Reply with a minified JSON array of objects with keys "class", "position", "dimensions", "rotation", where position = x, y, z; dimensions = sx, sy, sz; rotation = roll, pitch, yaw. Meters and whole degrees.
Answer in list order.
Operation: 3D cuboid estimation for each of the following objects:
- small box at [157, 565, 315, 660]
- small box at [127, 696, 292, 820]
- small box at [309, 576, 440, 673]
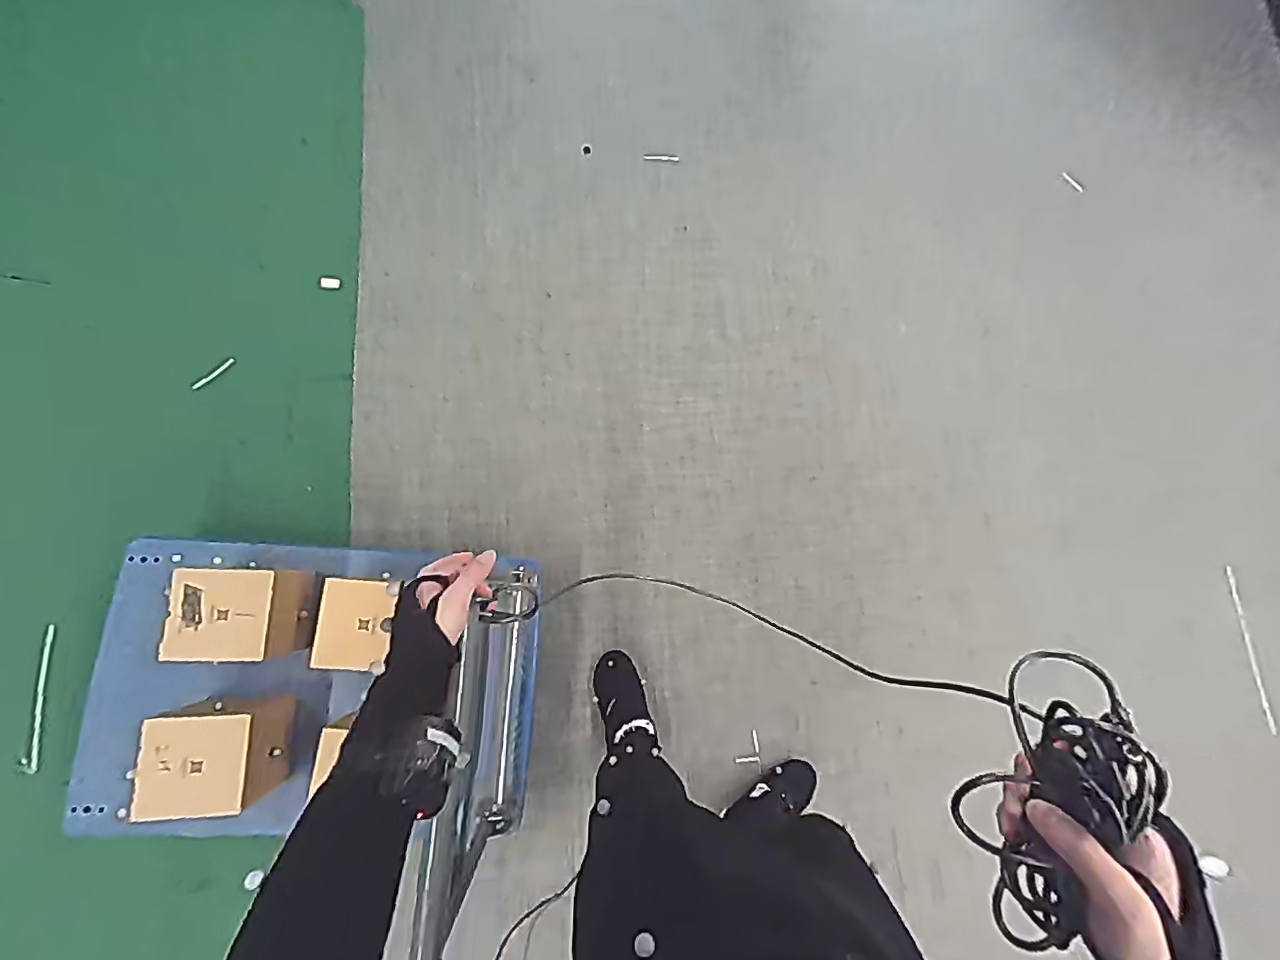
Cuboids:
[{"class":"small box","position":[-0.775,0.254,1.056],"dimensions":[0.179,0.176,0.168],"rotation":[3,80,-8]},{"class":"small box","position":[-0.784,0.506,1.009],"dimensions":[0.179,0.176,0.168],"rotation":[1,79,-7]},{"class":"small box","position":[-0.521,0.284,1.086],"dimensions":[0.179,0.176,0.168],"rotation":[6,79,-7]}]
